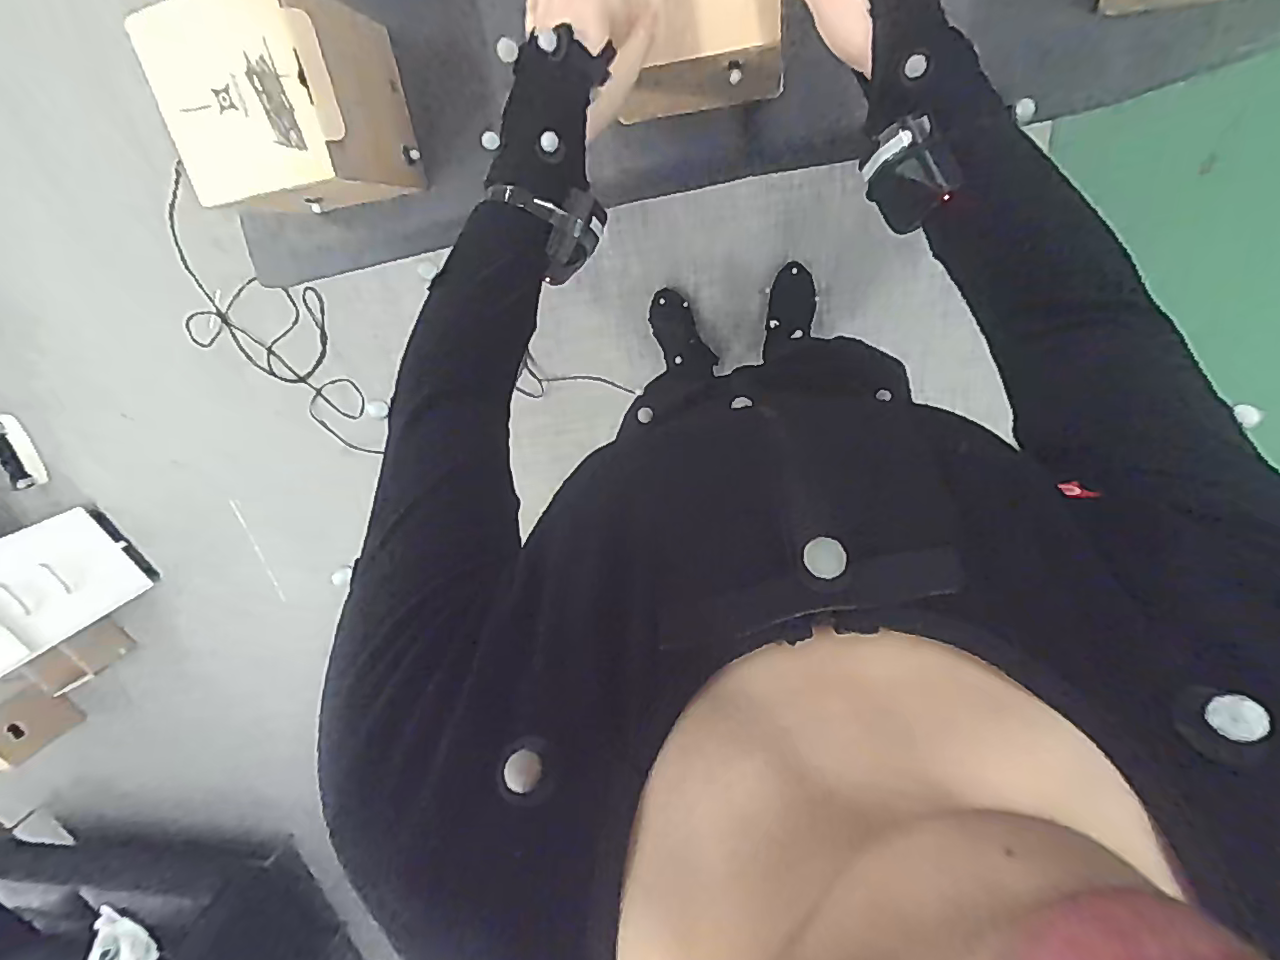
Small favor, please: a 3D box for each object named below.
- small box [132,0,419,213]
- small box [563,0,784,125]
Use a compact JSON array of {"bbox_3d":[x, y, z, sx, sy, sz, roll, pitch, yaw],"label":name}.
[{"bbox_3d":[-0.370,-0.396,0.592,0.179,0.176,0.168,-3,114,15],"label":"small box"},{"bbox_3d":[0.037,-0.438,0.482,0.179,0.176,0.168,-1,112,14],"label":"small box"}]
